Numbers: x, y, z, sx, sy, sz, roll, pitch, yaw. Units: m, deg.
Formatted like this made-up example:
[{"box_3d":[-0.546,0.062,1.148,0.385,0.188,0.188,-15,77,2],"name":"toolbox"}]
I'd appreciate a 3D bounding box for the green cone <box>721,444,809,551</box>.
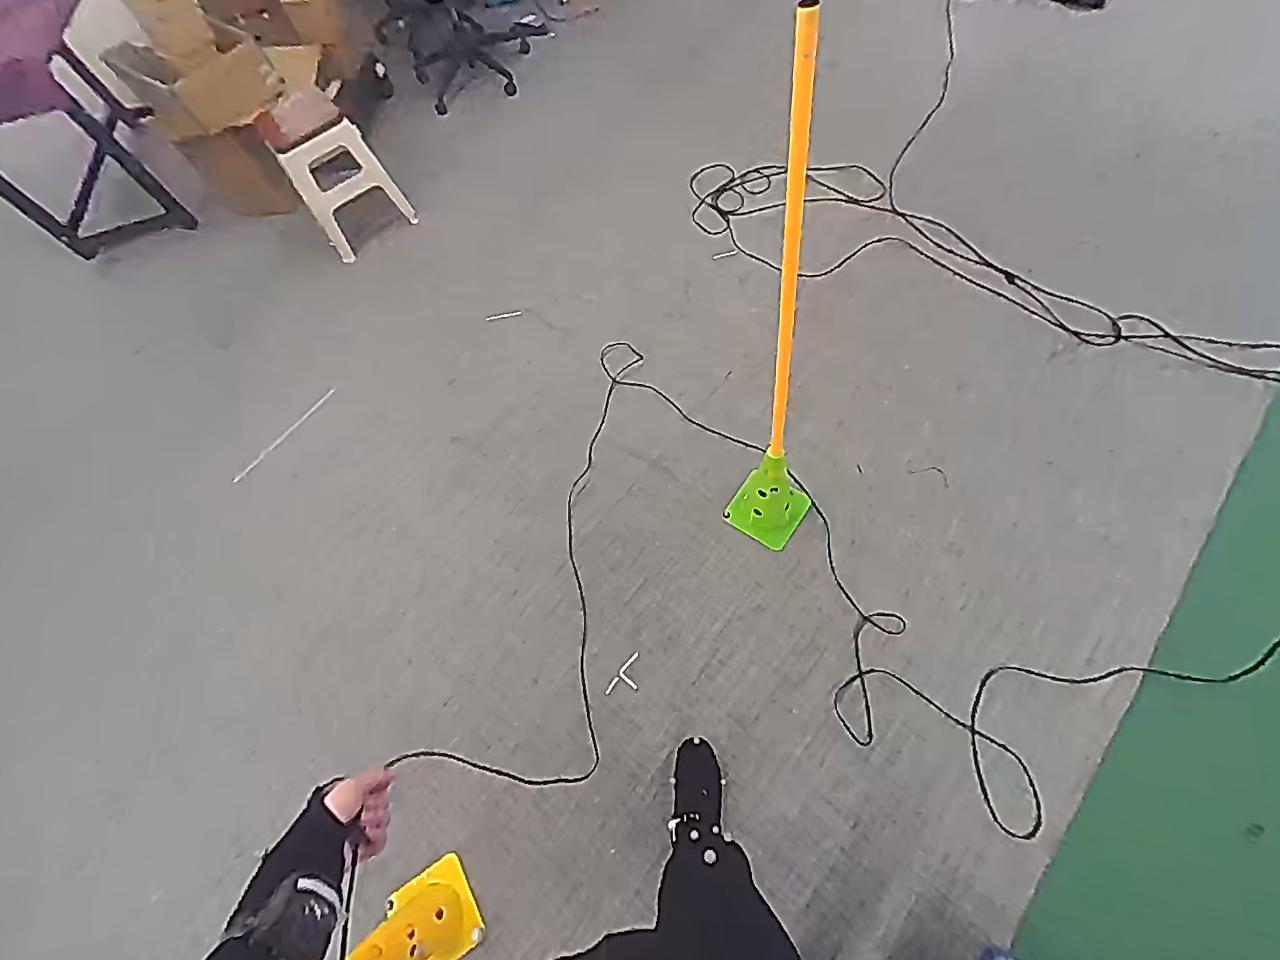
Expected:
[{"box_3d":[0.347,0.014,1.438,0.200,0.368,0.202,31,71,21],"name":"green cone"}]
